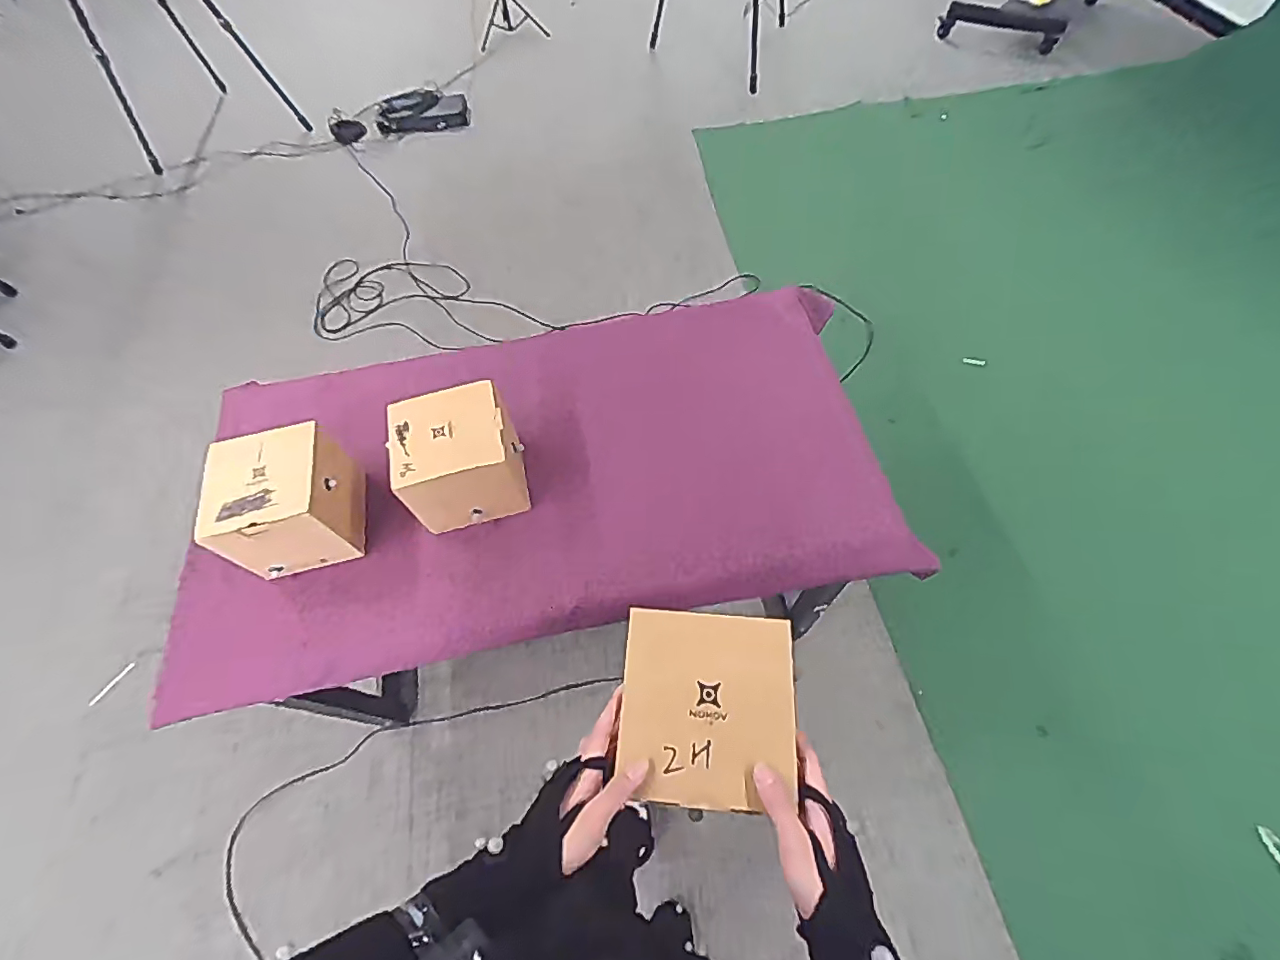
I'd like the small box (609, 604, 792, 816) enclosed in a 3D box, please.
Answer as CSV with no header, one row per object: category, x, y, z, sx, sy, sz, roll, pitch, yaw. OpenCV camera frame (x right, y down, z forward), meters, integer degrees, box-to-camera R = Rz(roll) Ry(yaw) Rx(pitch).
small box,0.064,0.249,0.586,0.168,0.176,0.179,4,62,5

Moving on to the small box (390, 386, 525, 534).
small box,-0.299,-0.029,0.910,0.179,0.176,0.168,-14,60,-5

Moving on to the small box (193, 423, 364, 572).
small box,-0.572,0.038,0.885,0.168,0.176,0.179,-13,59,-5
